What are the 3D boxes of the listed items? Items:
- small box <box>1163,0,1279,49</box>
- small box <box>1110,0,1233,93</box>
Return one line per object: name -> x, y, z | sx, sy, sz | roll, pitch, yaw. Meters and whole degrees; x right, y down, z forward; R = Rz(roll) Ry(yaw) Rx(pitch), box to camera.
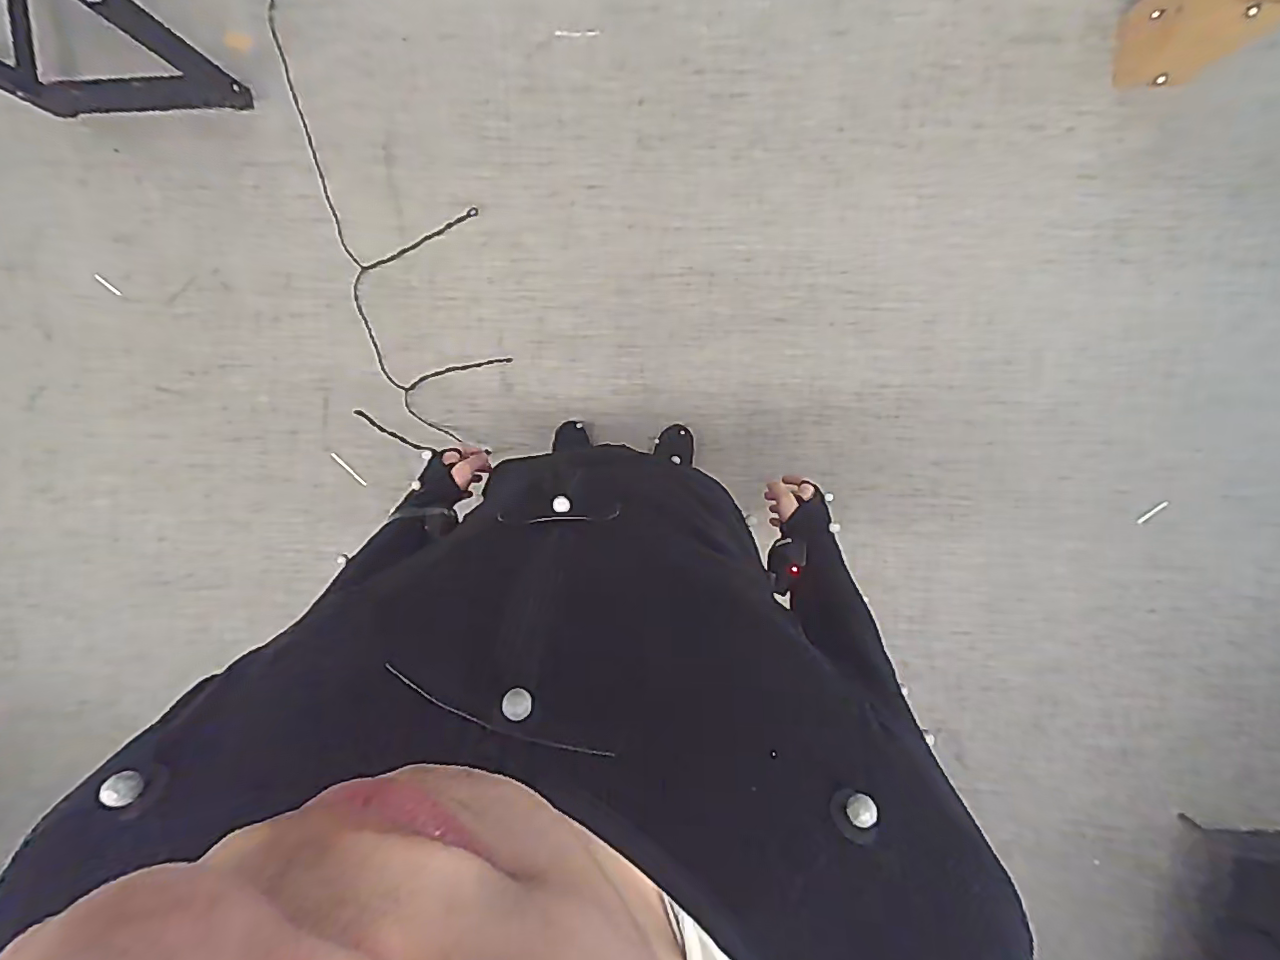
small box -> 1.331, -1.101, 1.202 | 0.179, 0.176, 0.168 | 3, 97, 1
small box -> 1.341, -1.123, 1.364 | 0.168, 0.176, 0.179 | 2, 97, 2
